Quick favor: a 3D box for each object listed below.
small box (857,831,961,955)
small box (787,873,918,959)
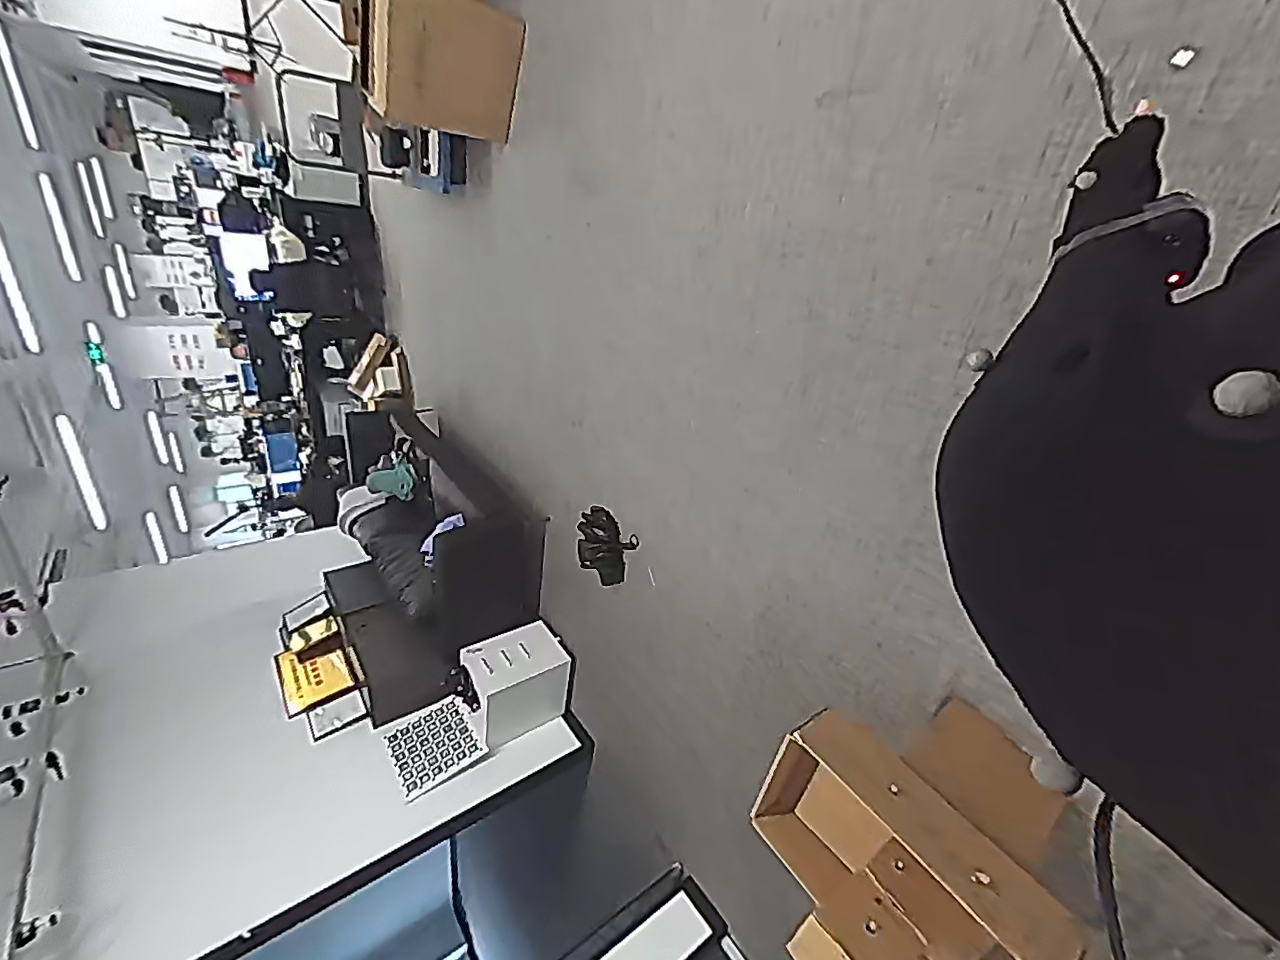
[{"bbox_3d":[0.583,0.943,1.219,0.168,0.176,0.179,43,135,41],"label":"small box"},{"bbox_3d":[0.448,0.978,1.134,0.168,0.176,0.179,43,132,42],"label":"small box"}]
